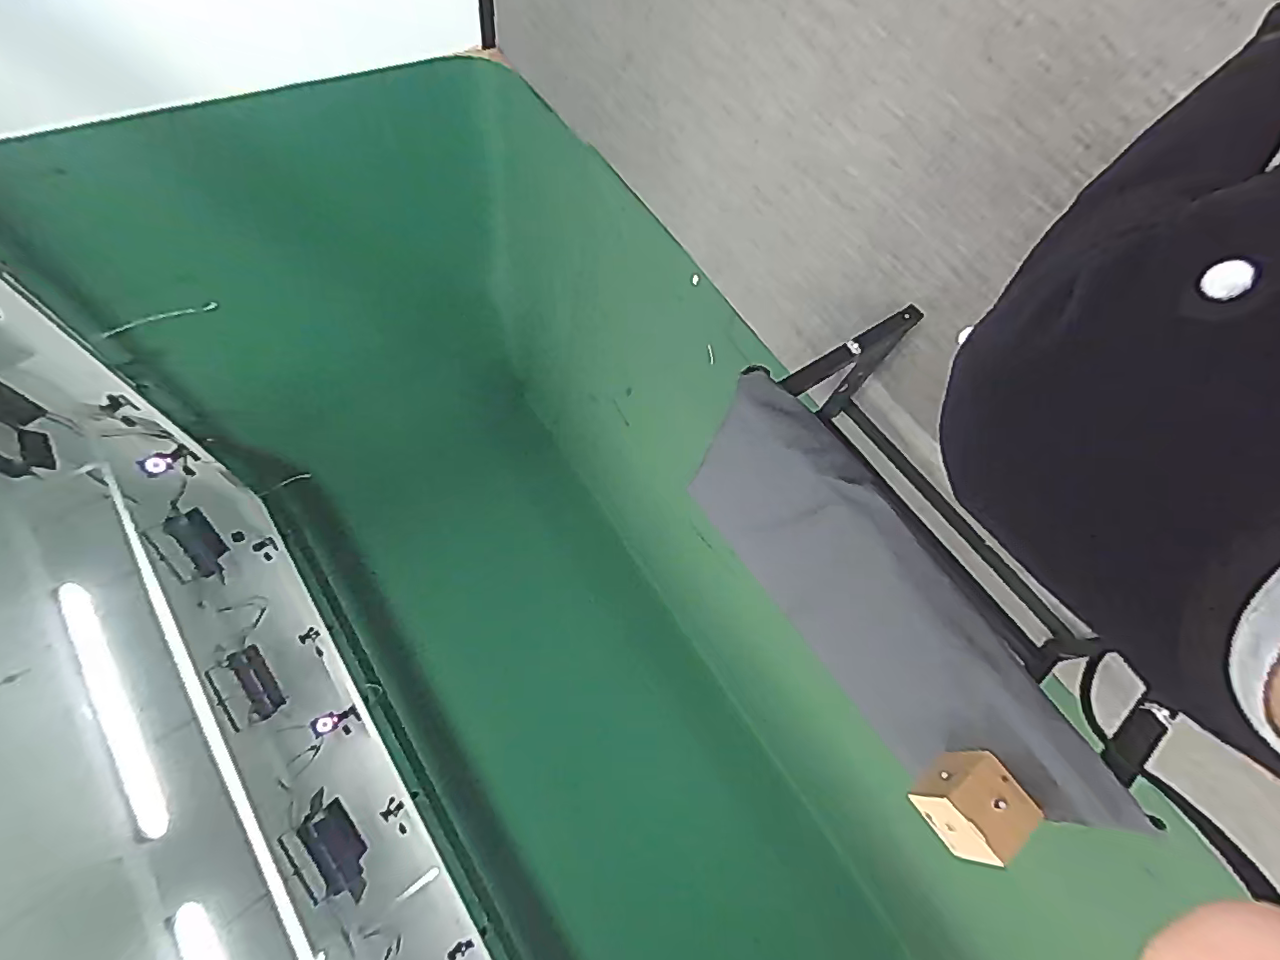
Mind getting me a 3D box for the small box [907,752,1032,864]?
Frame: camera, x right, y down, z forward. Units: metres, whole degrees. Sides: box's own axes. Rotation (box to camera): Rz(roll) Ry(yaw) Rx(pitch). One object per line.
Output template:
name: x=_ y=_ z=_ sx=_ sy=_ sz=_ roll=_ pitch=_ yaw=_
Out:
small box: x=0.804 y=0.787 z=1.315 sx=0.168 sy=0.176 sz=0.179 roll=52 pitch=156 yaw=18
